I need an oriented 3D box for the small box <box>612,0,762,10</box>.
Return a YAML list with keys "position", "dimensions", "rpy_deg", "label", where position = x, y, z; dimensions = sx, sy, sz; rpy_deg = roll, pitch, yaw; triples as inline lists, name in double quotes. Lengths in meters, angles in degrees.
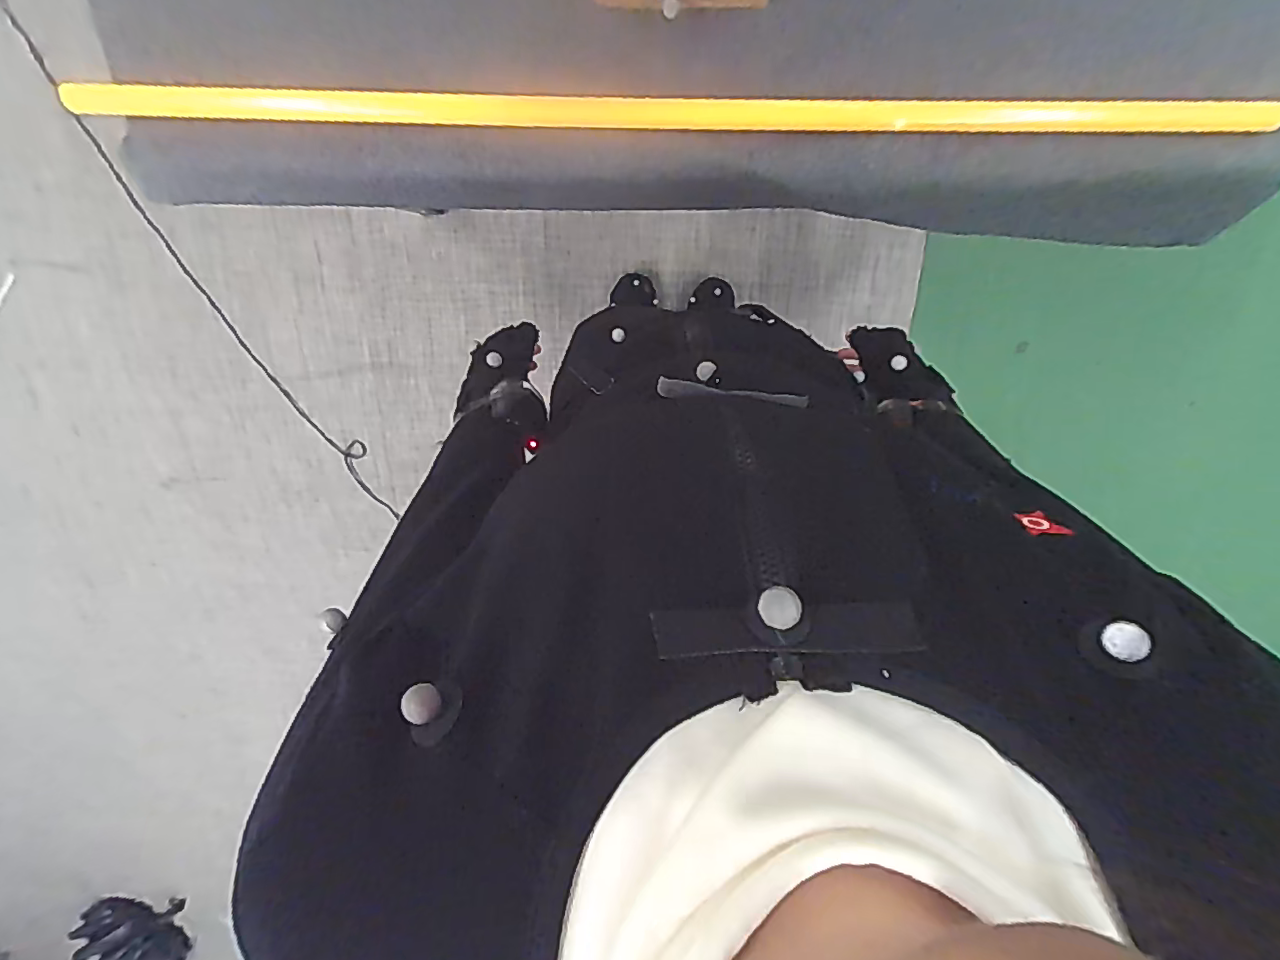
- position: [0.041, -0.511, 0.420]
  dimensions: [0.168, 0.176, 0.179]
  rpy_deg: [0, 112, 2]
  label: "small box"
